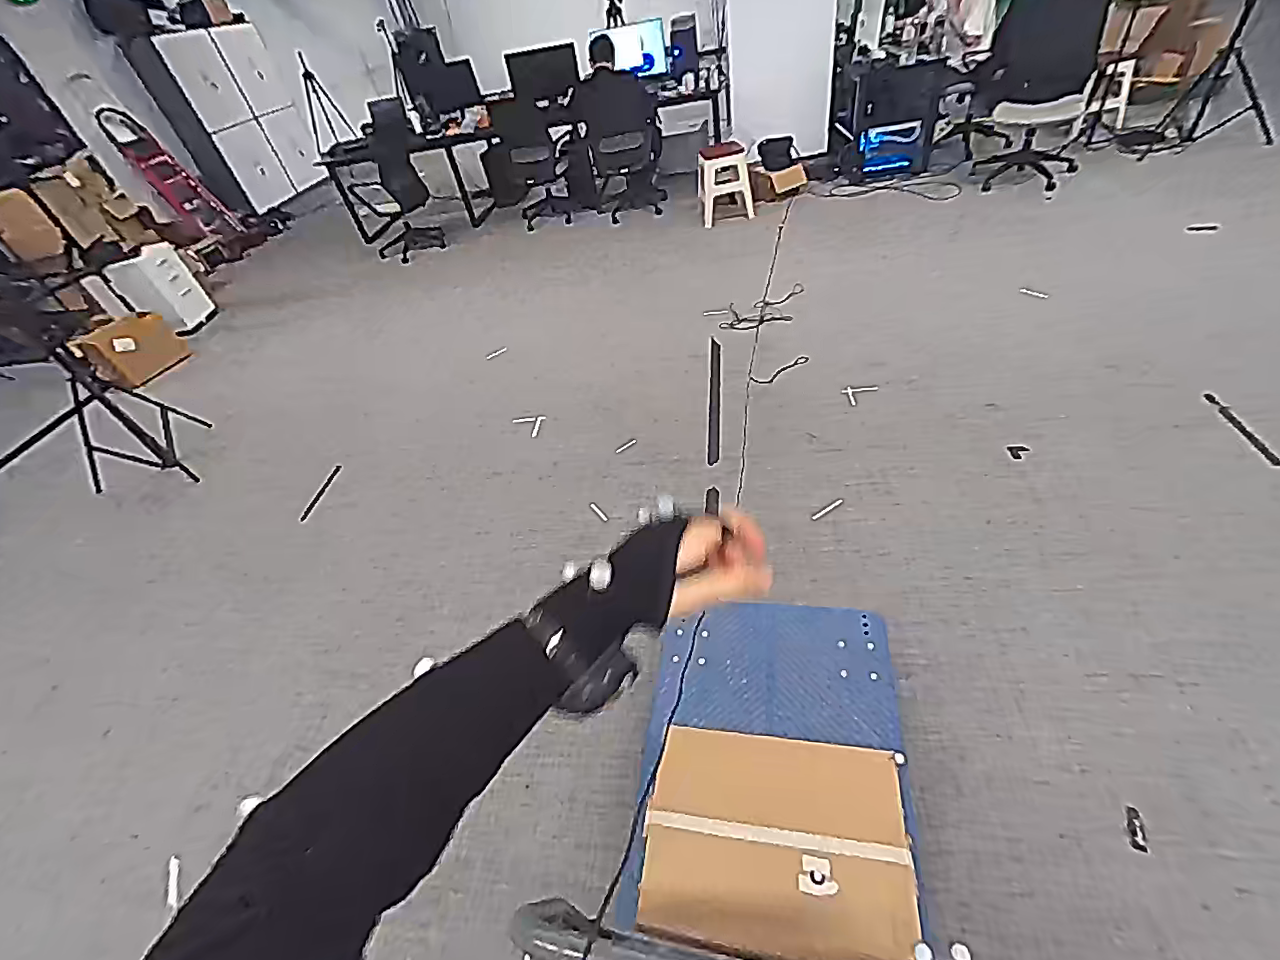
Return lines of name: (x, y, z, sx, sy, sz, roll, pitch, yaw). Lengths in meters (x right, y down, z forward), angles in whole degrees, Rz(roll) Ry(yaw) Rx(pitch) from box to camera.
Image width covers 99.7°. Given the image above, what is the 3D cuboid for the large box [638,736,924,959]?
large box: (0.235, 0.690, 0.957, 0.408, 0.320, 0.320, 0, 45, 14)
